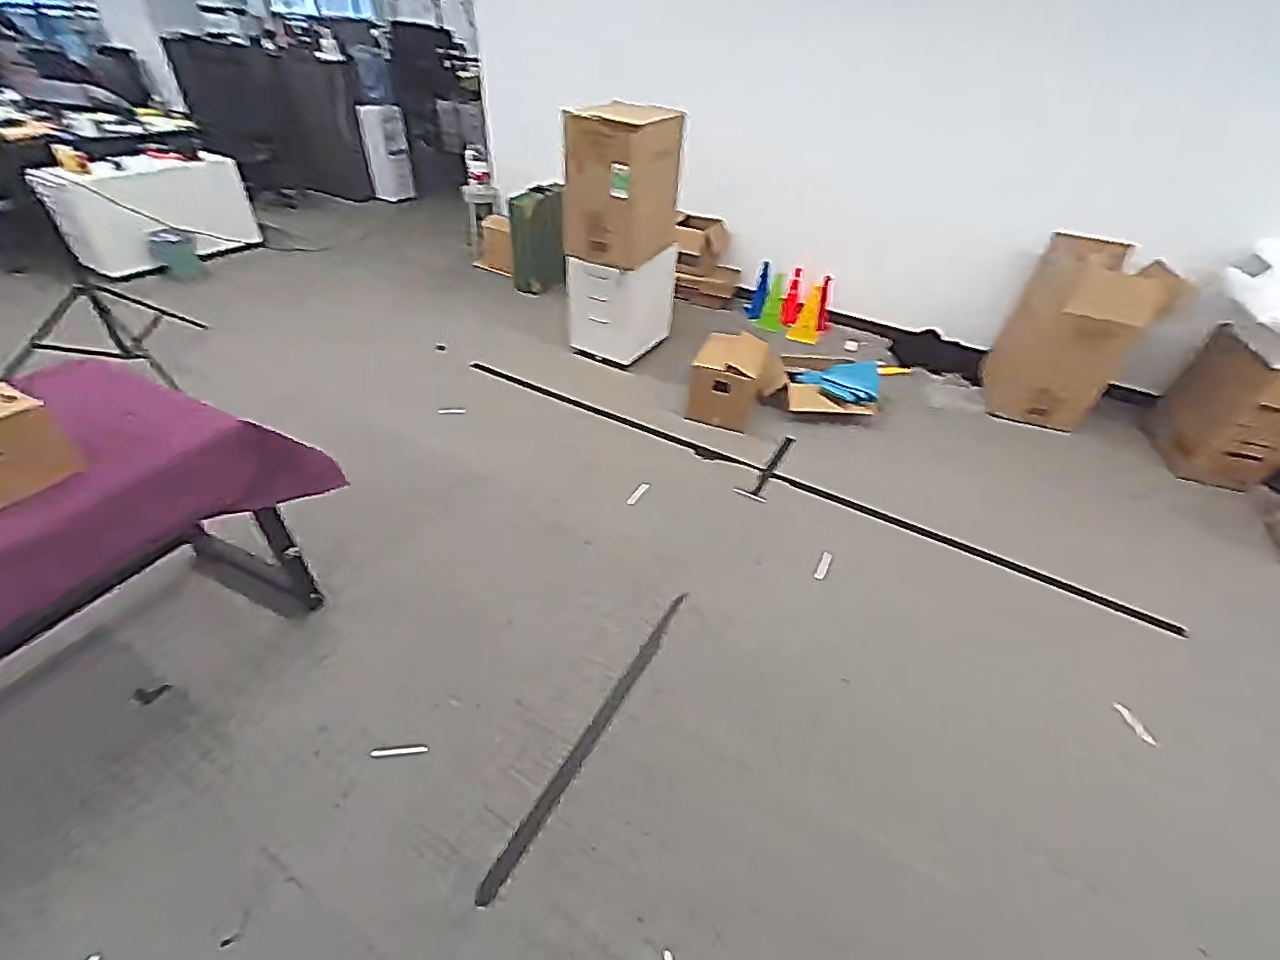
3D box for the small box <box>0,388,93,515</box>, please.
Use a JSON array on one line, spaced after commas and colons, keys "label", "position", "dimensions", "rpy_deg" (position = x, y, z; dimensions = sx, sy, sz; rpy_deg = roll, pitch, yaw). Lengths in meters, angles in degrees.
[{"label": "small box", "position": [-1.291, -0.057, 1.094], "dimensions": [0.168, 0.176, 0.179], "rpy_deg": [20, 43, 18]}]
